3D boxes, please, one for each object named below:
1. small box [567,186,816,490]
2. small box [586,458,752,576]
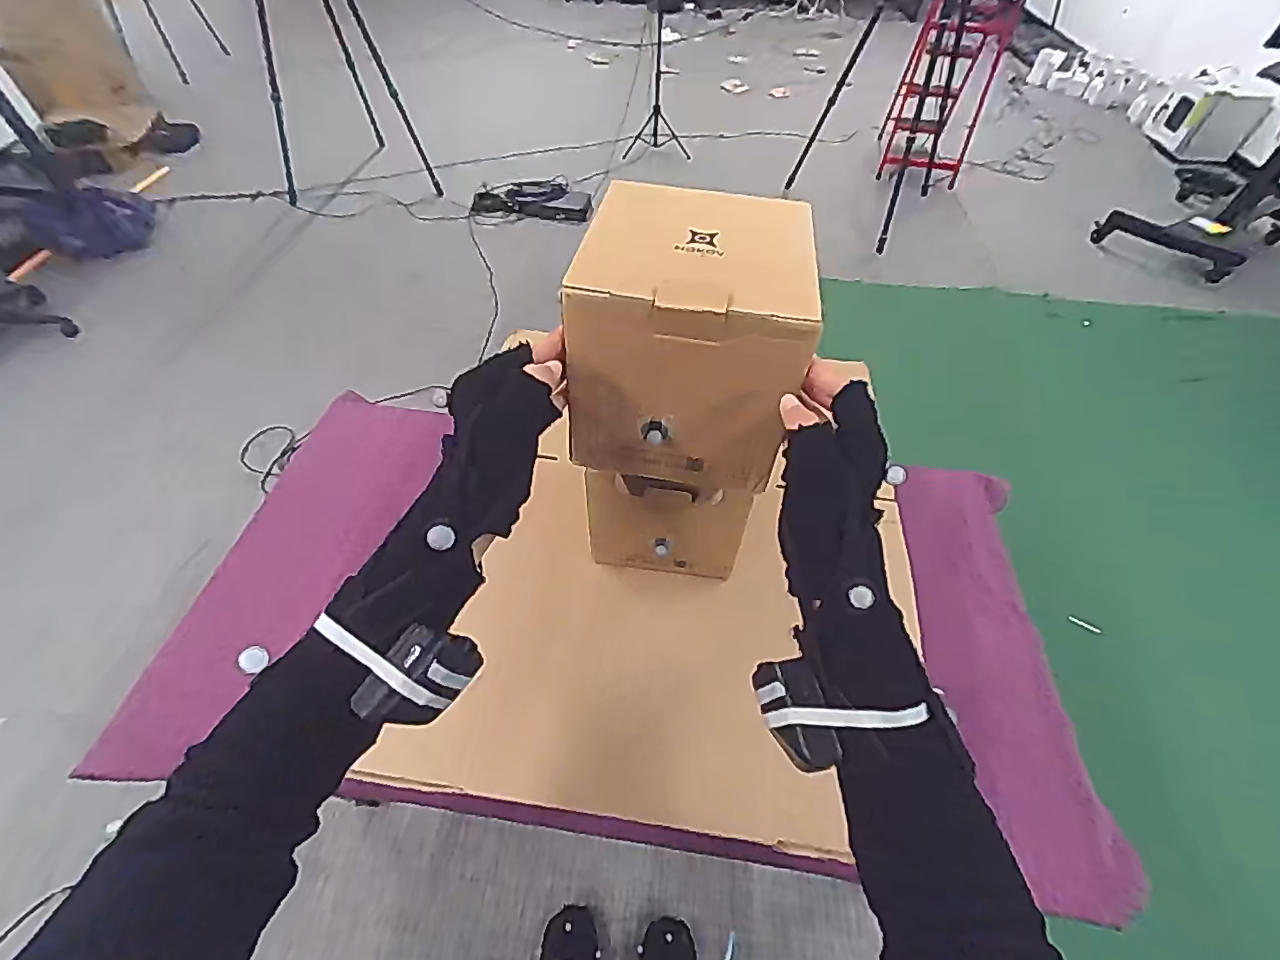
[{"bbox_3d":[0.040,-0.118,0.459,0.168,0.176,0.179,9,50,4],"label":"small box"},{"bbox_3d":[0.036,-0.013,0.632,0.168,0.176,0.179,7,51,5],"label":"small box"}]
